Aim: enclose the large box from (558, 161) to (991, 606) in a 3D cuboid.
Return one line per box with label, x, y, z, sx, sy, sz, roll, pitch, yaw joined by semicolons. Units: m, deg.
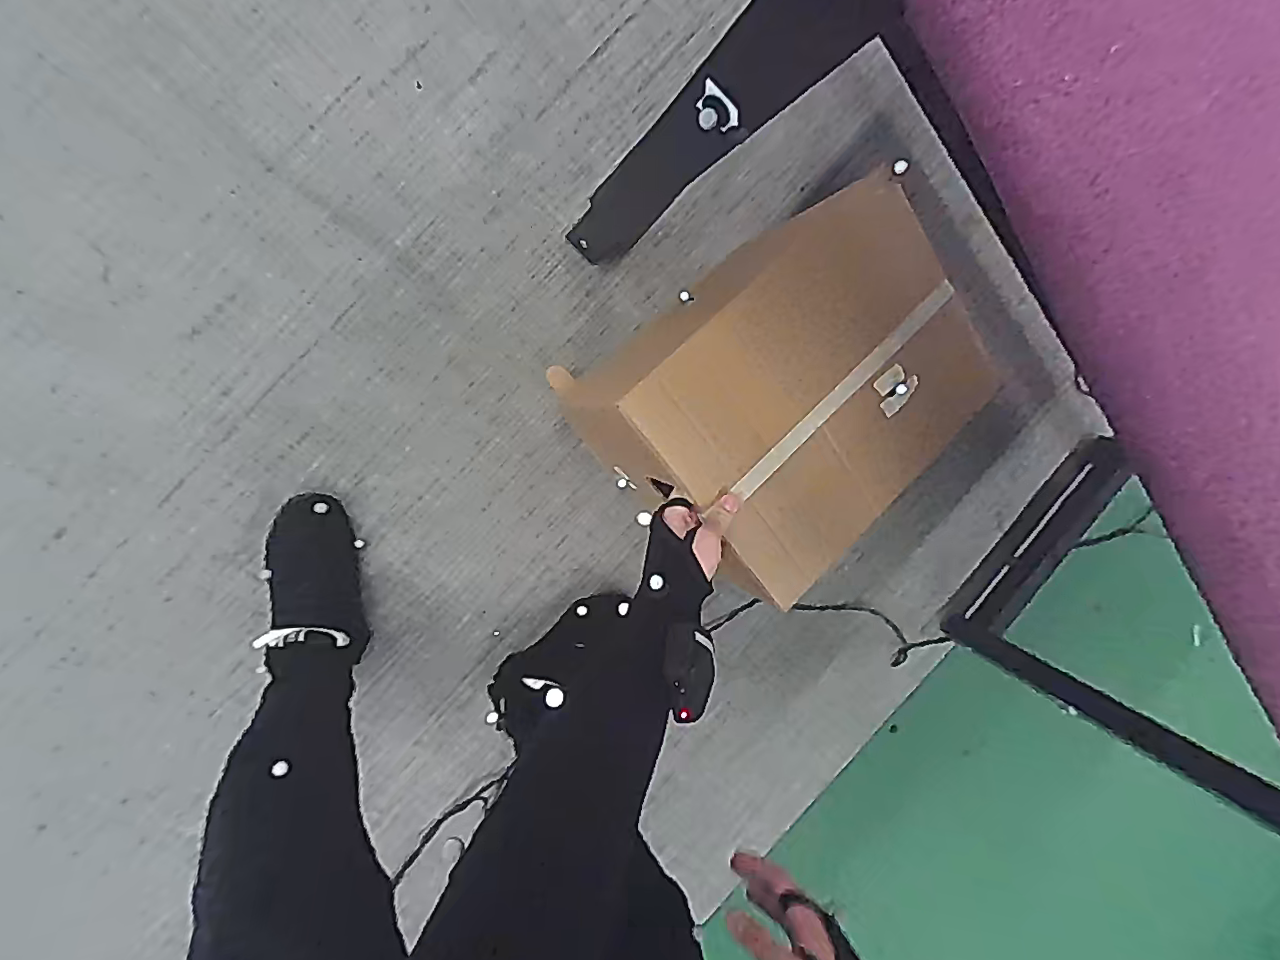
large box;0.156;-0.116;0.730;0.408;0.320;0.320;-43;110;-10
